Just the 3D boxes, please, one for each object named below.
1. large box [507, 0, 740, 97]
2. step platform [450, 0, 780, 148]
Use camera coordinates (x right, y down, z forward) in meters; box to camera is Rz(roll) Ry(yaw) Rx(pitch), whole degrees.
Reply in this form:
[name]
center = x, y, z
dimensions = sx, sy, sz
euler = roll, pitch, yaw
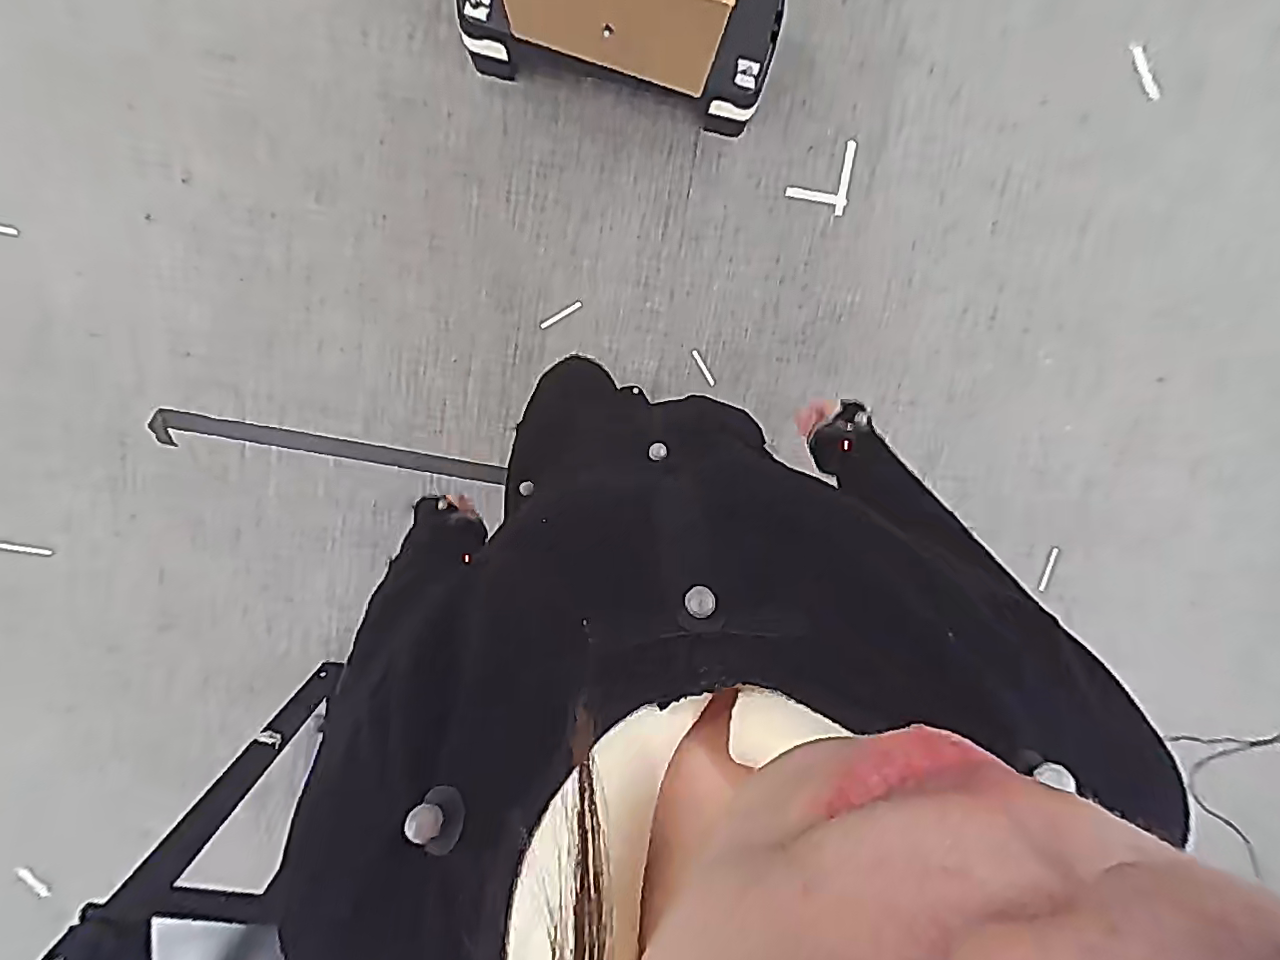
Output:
[large box]
center = -0.010, -0.951, 0.941
dimensions = 0.408, 0.320, 0.320
euler = 14, 100, -5
[step platform]
center = -0.050, -1.002, 1.172
dimensions = 0.684, 0.204, 0.286
euler = 16, 101, -5
